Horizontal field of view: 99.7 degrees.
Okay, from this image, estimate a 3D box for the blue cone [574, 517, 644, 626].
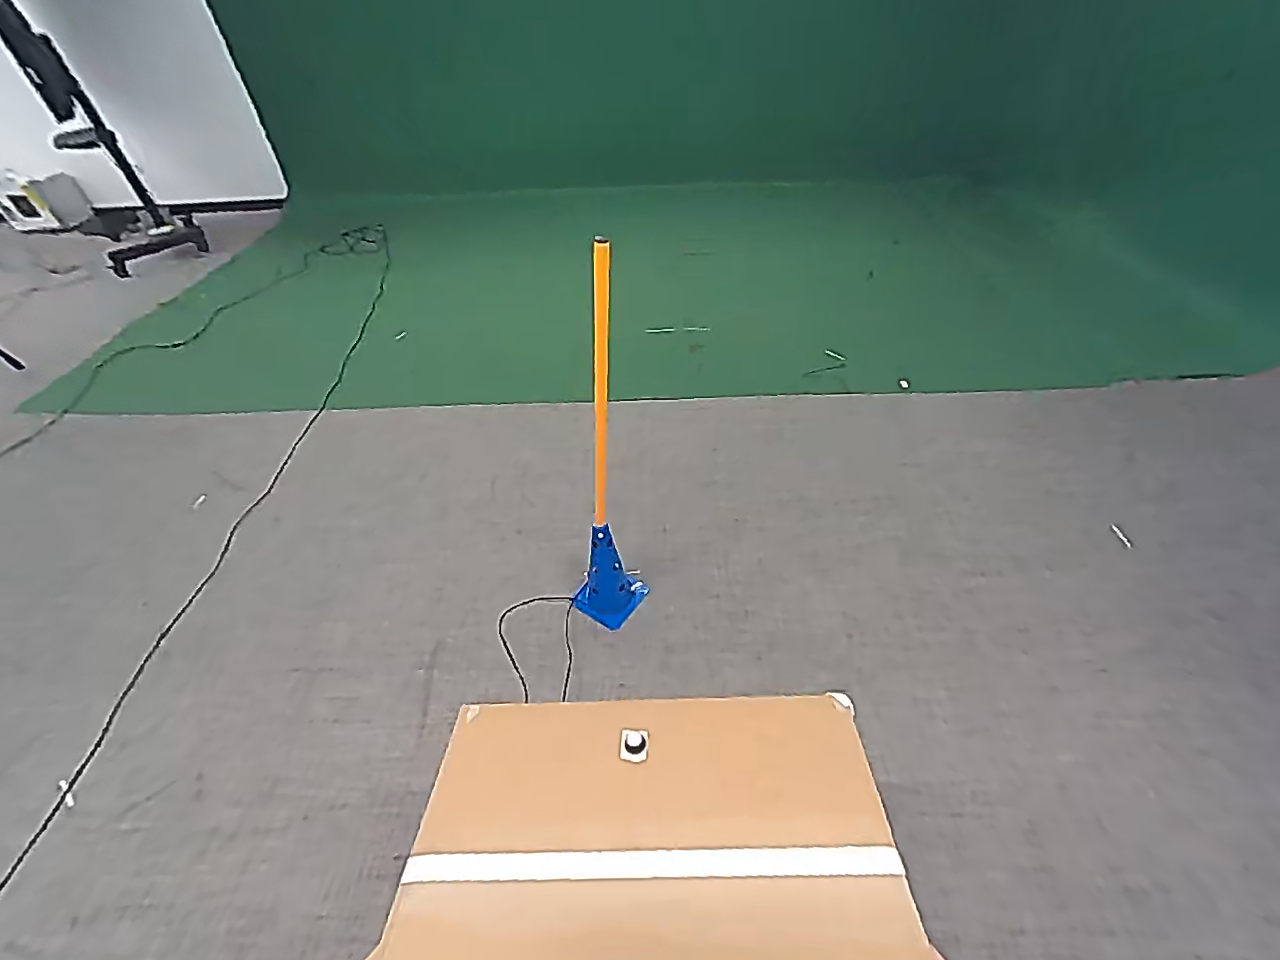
[{"bbox_3d":[-0.104,0.250,1.646,0.192,0.380,0.193,24,49,24],"label":"blue cone"}]
